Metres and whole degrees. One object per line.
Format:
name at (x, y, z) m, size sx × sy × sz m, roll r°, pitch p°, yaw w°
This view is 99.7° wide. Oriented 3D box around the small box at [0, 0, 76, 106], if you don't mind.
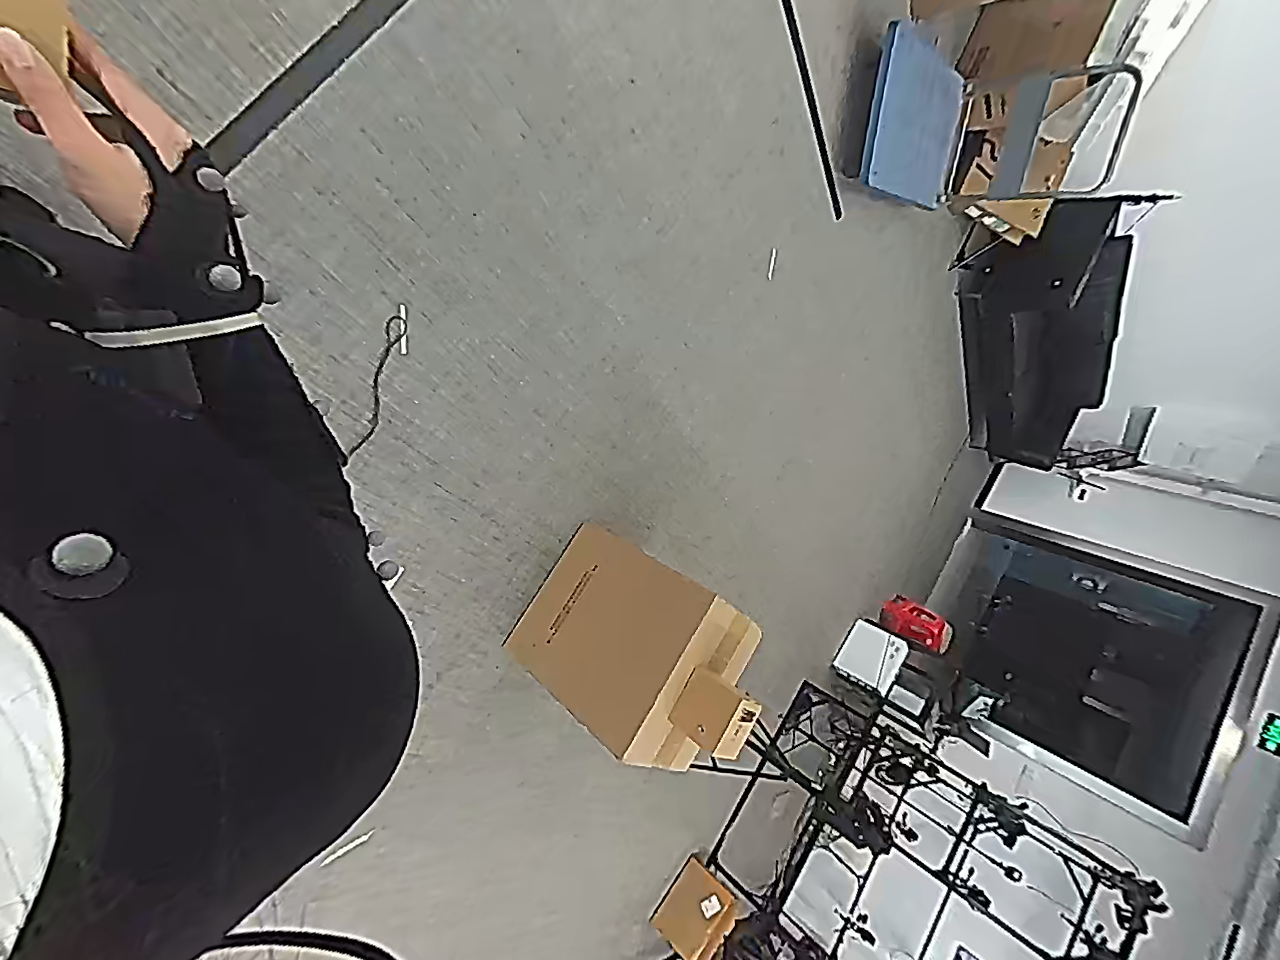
small box at (-0.381, -0.302, 0.243) m, size 0.168 × 0.176 × 0.179 m, roll -5°, pitch 117°, yaw -51°
